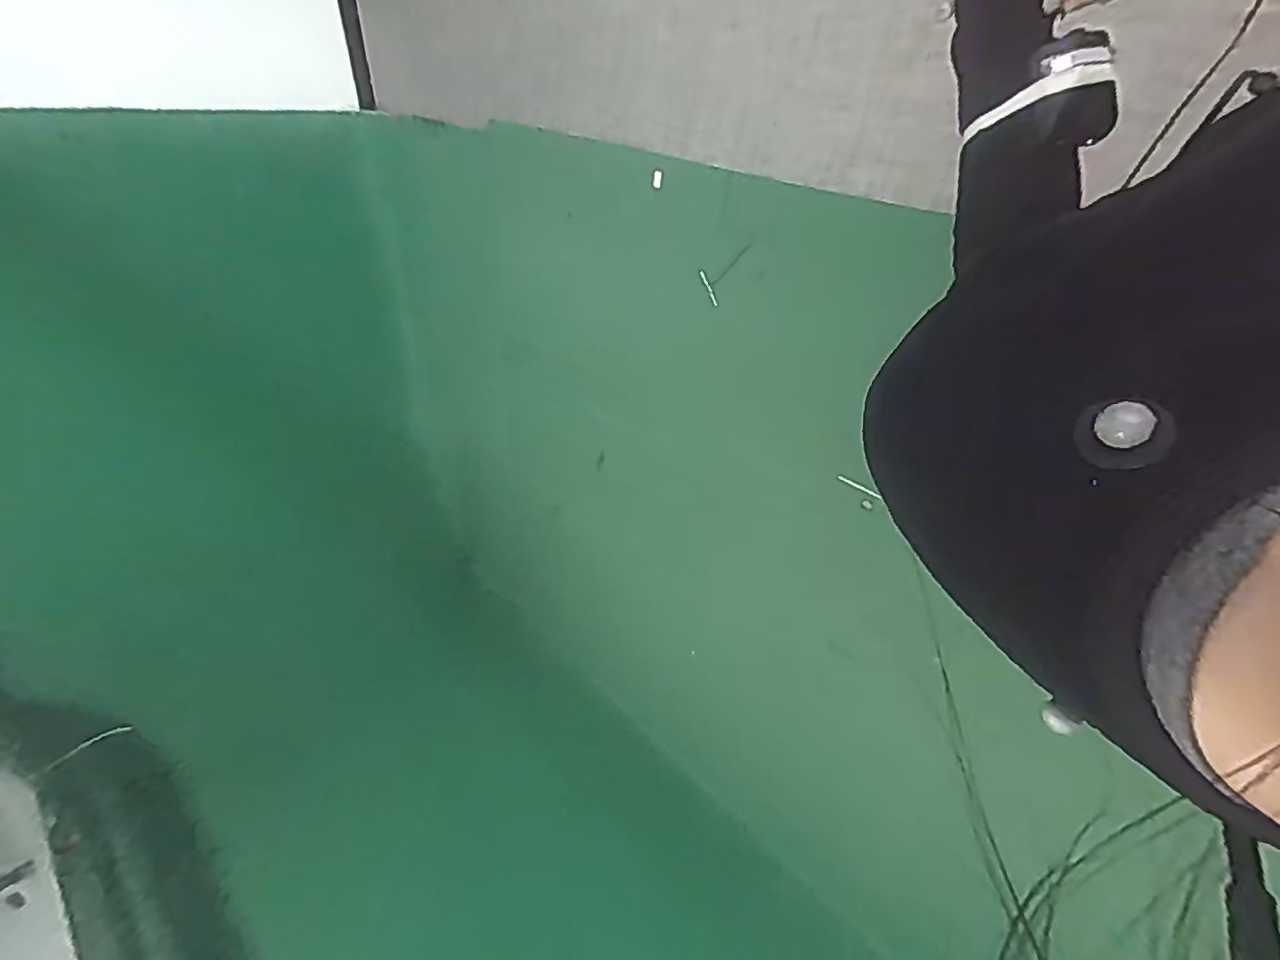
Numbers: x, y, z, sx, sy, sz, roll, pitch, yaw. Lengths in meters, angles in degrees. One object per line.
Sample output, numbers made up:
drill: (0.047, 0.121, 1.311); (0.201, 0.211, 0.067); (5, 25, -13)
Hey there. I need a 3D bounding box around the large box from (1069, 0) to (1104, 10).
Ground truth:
large box: (0.468, -0.547, 0.271); (0.408, 0.320, 0.320); (-2, 122, 46)
